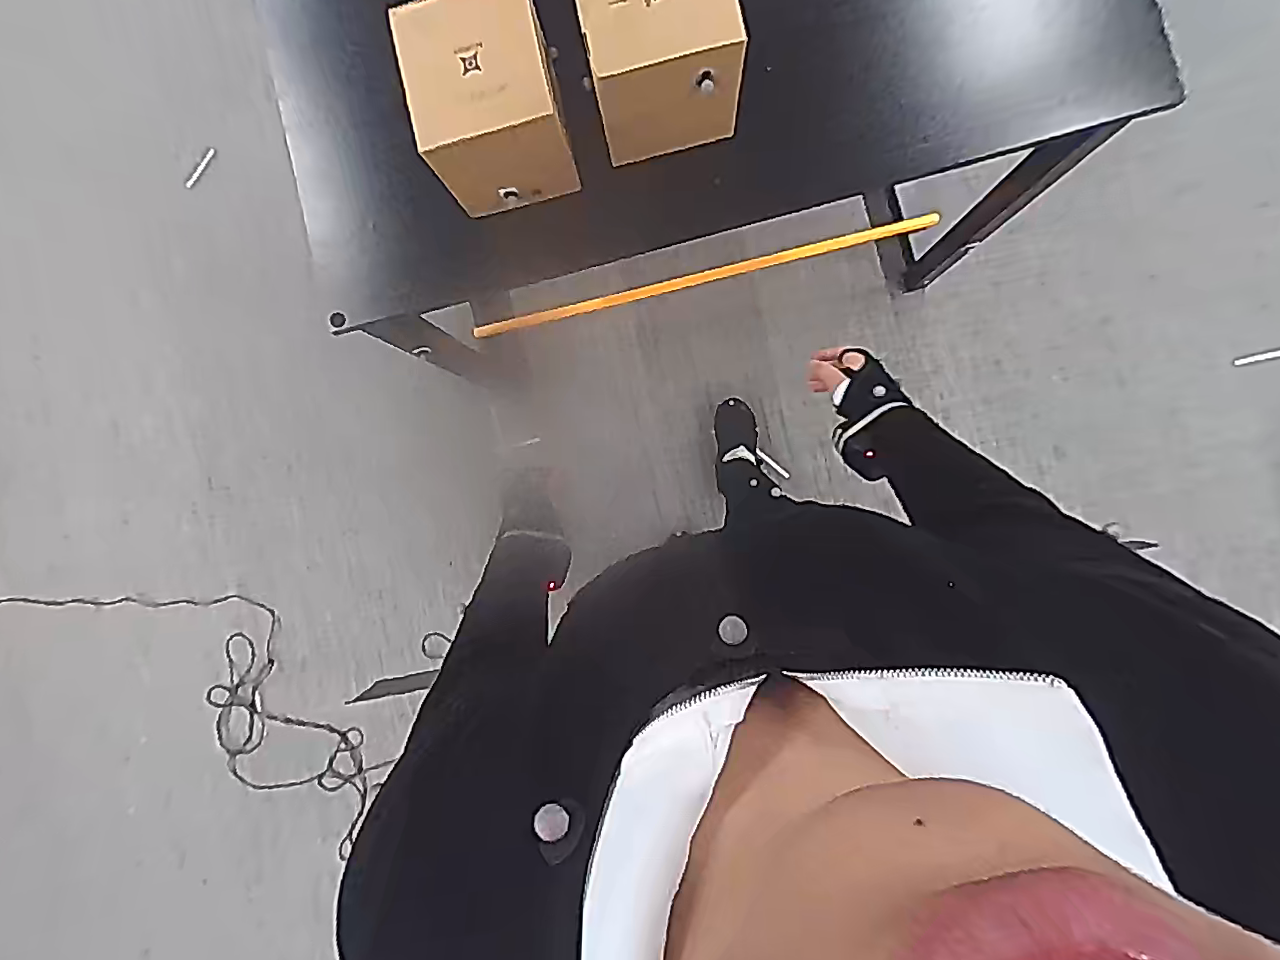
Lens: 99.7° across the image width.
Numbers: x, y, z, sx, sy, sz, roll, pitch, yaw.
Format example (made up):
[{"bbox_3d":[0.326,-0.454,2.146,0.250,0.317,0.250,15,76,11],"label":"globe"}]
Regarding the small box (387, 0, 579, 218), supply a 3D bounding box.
[{"bbox_3d":[-0.187,-0.475,0.692,0.168,0.176,0.179,-14,89,5],"label":"small box"}]
